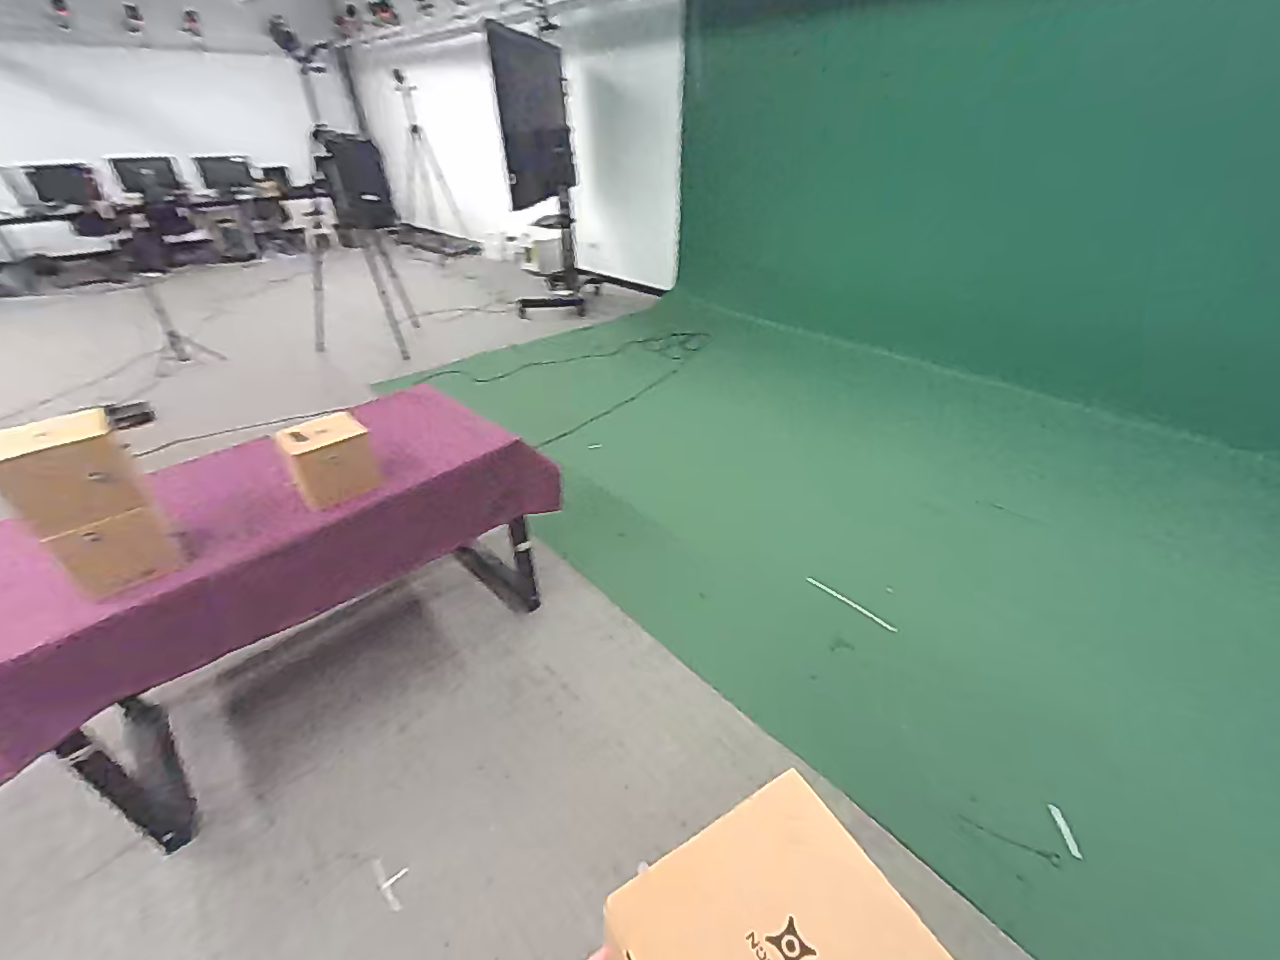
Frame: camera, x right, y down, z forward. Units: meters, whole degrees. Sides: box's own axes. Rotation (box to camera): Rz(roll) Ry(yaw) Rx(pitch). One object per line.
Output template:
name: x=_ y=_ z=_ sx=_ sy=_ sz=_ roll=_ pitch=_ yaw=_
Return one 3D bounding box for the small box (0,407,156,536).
small box: x=-1.109 y=-0.020 z=1.077 sx=0.179 sy=0.176 sz=0.168 roll=-27 pitch=41 yaw=-32

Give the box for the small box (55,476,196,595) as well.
small box: x=-1.105 y=0.116 z=1.168 sx=0.168 sy=0.176 sz=0.179 roll=-28 pitch=41 yaw=-33

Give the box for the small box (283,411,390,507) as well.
small box: x=-0.786 y=-0.055 z=1.411 sx=0.179 sy=0.176 sz=0.168 roll=-28 pitch=42 yaw=-34
